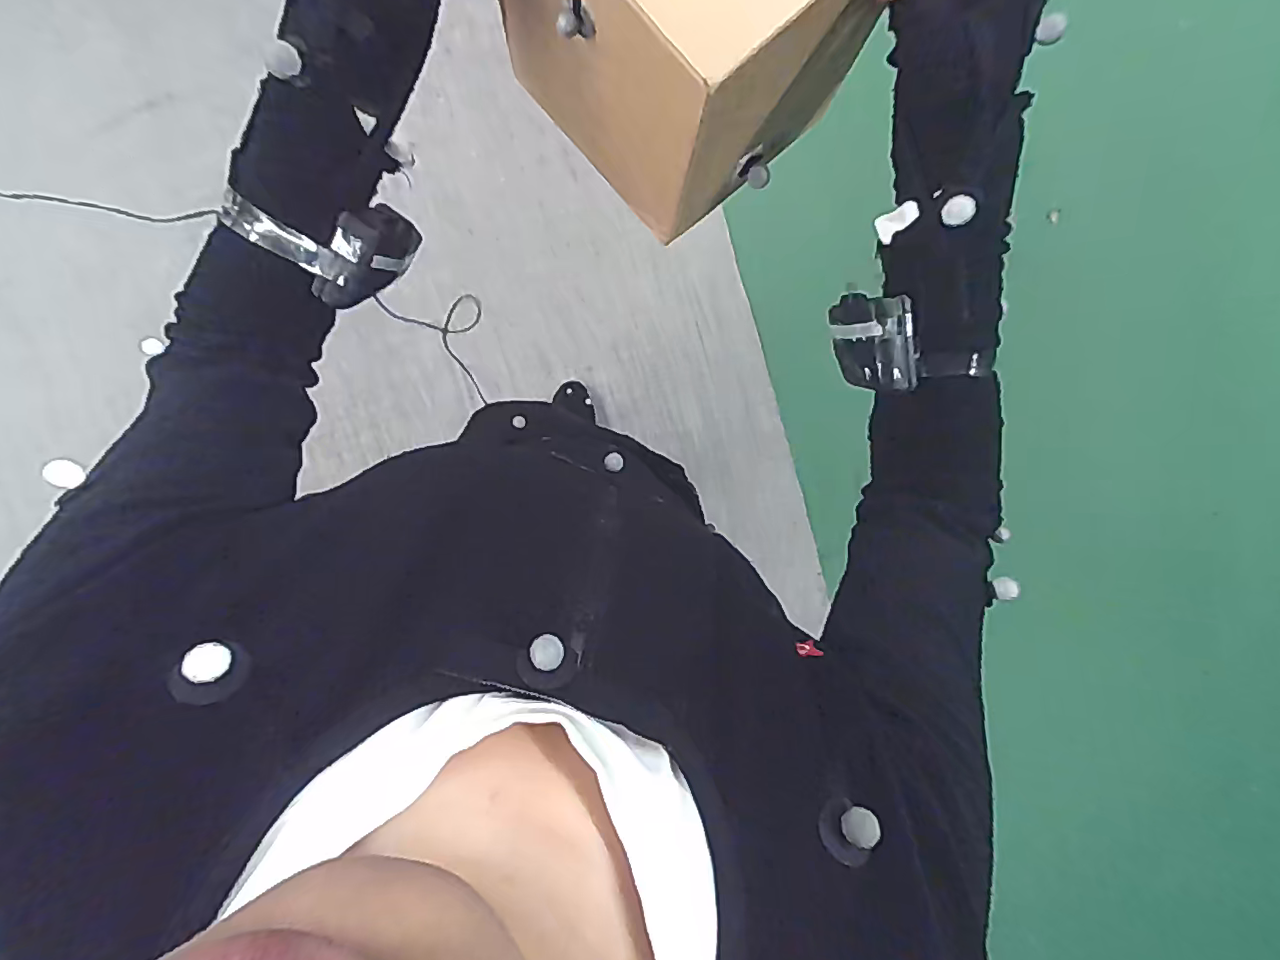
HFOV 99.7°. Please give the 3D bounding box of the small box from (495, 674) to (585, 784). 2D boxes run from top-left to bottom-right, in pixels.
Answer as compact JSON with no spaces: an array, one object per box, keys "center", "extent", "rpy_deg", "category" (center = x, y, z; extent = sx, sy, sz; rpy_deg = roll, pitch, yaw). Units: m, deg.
[{"center":[-0.245,0.624,1.379],"extent":[0.179,0.176,0.168],"rpy_deg":[-20,95,0],"category":"small box"}]
